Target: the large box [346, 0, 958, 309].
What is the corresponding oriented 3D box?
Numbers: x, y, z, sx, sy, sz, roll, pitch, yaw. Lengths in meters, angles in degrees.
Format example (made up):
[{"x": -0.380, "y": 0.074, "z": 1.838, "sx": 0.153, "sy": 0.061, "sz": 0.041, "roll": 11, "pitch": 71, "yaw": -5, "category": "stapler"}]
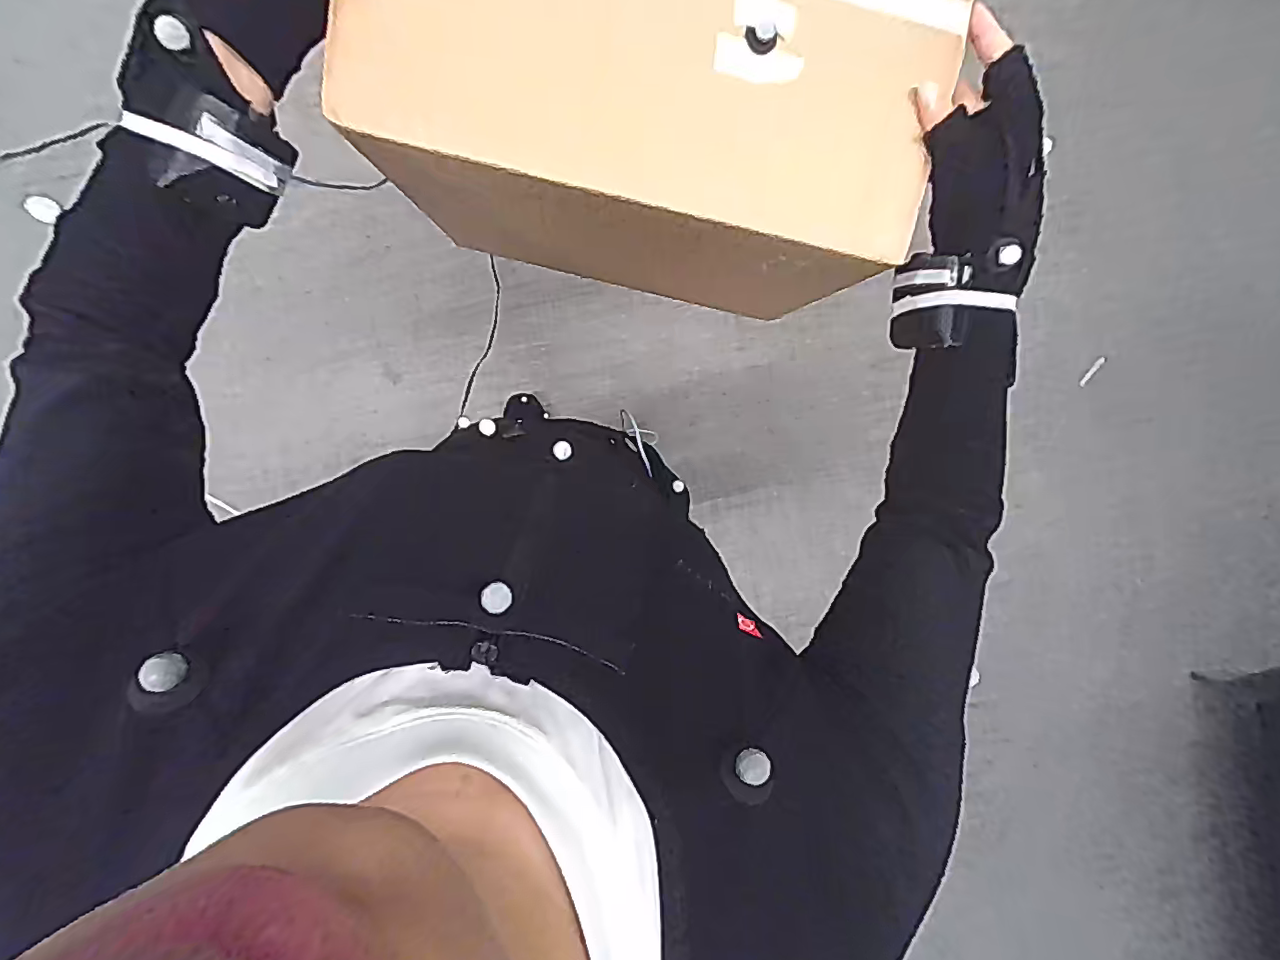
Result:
[{"x": 0.012, "y": -0.373, "z": 0.505, "sx": 0.408, "sy": 0.320, "sz": 0.320, "roll": 11, "pitch": 99, "yaw": -5, "category": "large box"}]
